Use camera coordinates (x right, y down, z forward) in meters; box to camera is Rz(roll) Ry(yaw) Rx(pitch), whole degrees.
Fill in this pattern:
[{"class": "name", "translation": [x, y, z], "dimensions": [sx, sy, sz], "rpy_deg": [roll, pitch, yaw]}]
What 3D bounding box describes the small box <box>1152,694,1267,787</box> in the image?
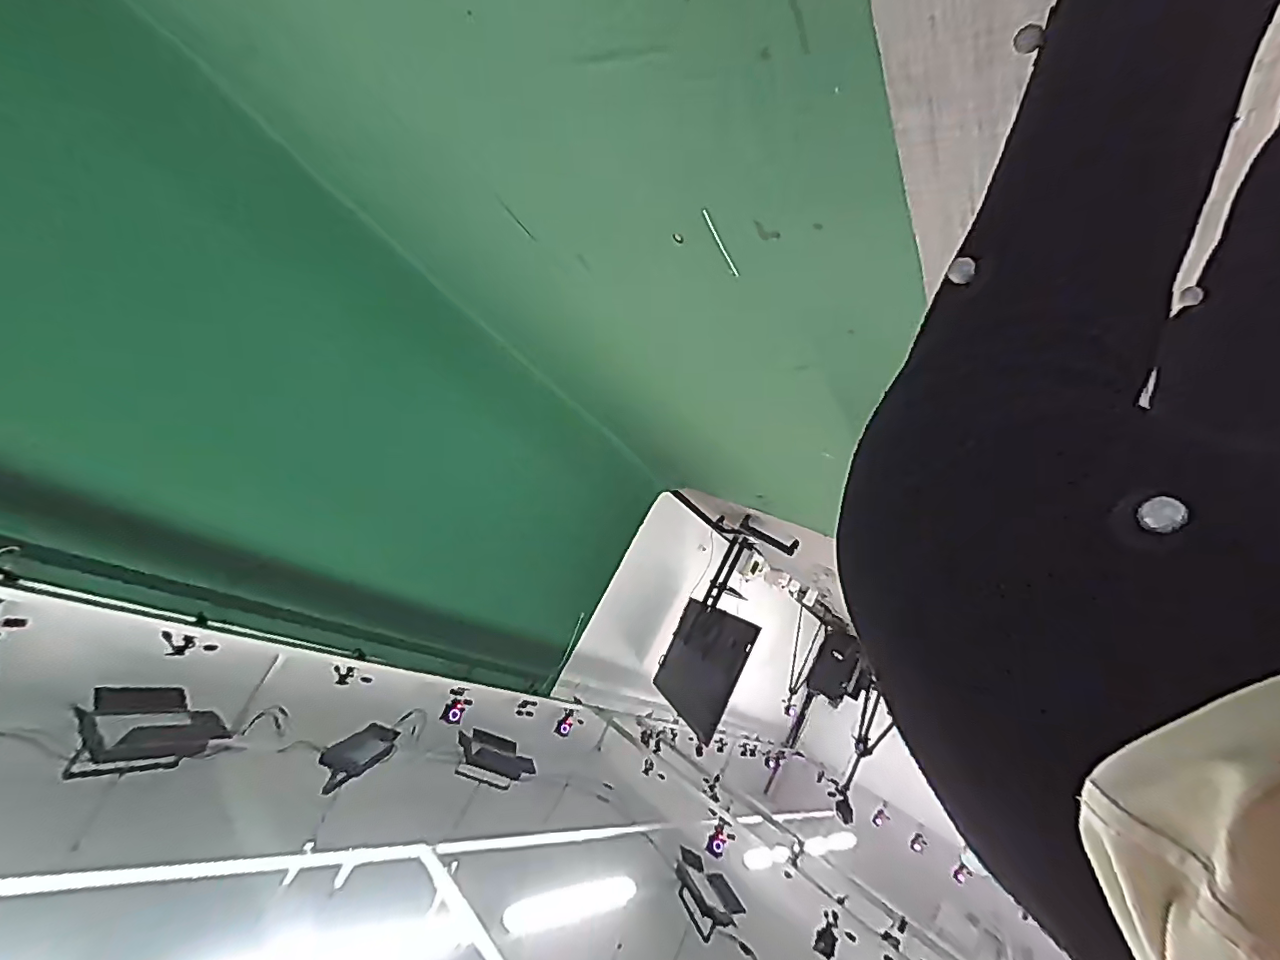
[{"class": "small box", "translation": [1.556, 0.705, 1.484], "dimensions": [0.179, 0.176, 0.168], "rpy_deg": [19, 166, 45]}]
